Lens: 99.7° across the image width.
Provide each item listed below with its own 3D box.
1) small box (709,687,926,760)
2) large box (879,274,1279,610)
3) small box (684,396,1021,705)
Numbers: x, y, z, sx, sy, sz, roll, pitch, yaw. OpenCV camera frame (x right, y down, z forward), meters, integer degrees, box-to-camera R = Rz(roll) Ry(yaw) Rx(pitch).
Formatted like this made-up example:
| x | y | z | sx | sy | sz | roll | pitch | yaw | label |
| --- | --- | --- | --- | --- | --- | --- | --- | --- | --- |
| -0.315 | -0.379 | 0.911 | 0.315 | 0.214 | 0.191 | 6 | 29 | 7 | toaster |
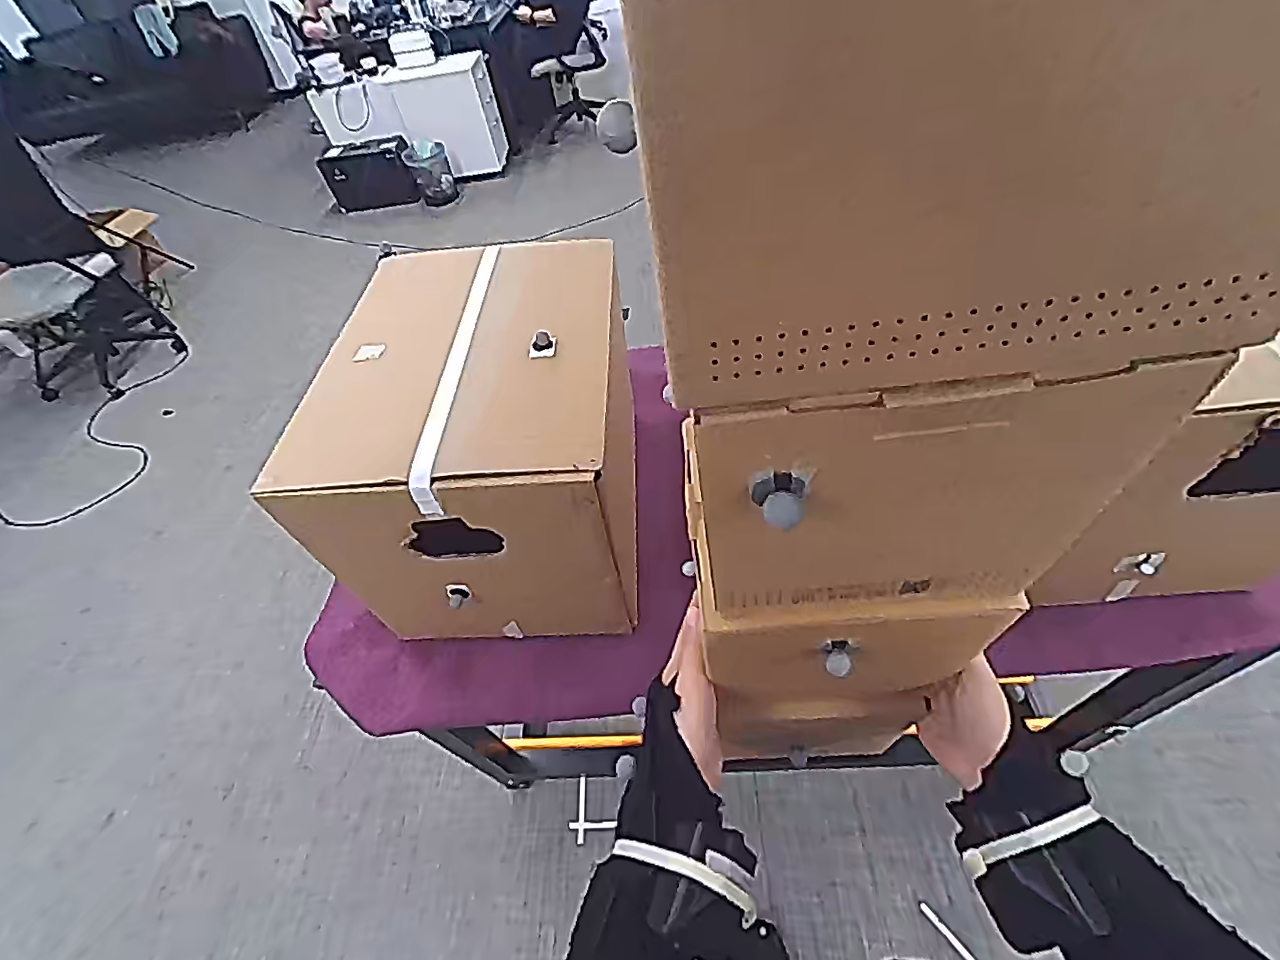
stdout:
| x | y | z | sx | sy | sz | roll | pitch | yaw | label |
| --- | --- | --- | --- | --- | --- | --- | --- | --- | --- |
| 0.148 | 0.164 | 0.531 | 0.168 | 0.176 | 0.179 | -6 | 54 | 7 | small box |
| 0.525 | -0.102 | 0.643 | 0.320 | 0.320 | 0.408 | -5 | 49 | 5 | large box |
| 0.130 | 0.062 | 0.407 | 0.179 | 0.176 | 0.168 | -6 | 53 | 7 | small box |
